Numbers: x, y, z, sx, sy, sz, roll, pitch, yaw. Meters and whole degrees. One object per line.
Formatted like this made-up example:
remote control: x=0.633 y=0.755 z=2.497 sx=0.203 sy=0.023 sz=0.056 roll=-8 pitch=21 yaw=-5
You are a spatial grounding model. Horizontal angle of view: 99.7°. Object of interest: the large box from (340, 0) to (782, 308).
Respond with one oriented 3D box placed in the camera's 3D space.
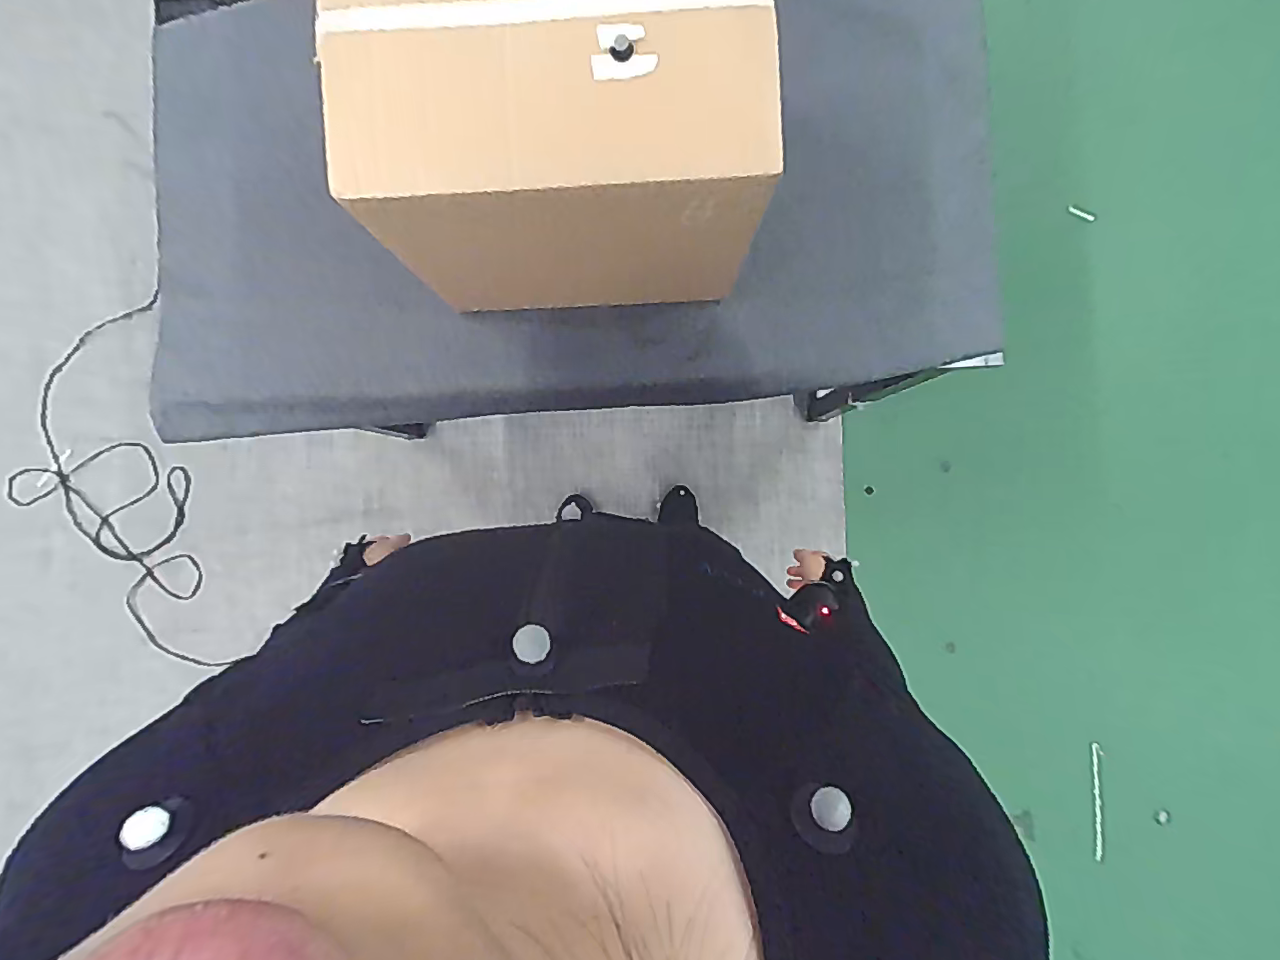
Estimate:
large box: x=-0.078 y=-0.417 z=0.644 sx=0.408 sy=0.320 sz=0.320 roll=-3 pitch=89 yaw=0
